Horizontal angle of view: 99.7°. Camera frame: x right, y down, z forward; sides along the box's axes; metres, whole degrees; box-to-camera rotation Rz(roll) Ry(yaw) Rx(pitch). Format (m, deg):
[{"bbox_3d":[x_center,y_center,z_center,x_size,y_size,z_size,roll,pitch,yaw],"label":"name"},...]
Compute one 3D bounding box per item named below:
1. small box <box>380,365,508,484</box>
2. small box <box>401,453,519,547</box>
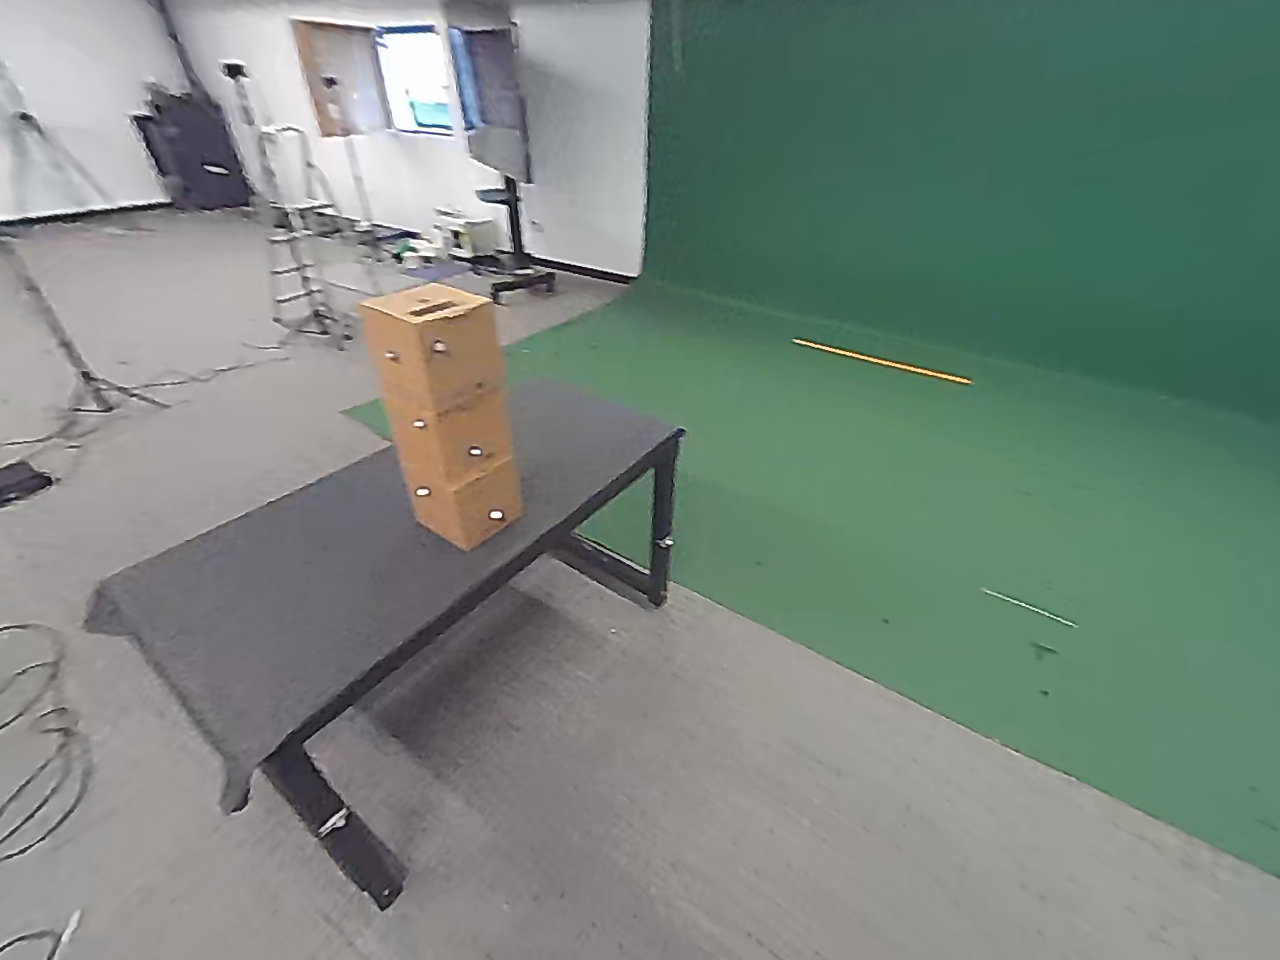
[{"bbox_3d":[-0.394,-0.115,1.107,0.179,0.176,0.168,24,41,29],"label":"small box"},{"bbox_3d":[-0.390,0.021,1.194,0.179,0.176,0.168,23,41,28],"label":"small box"}]
